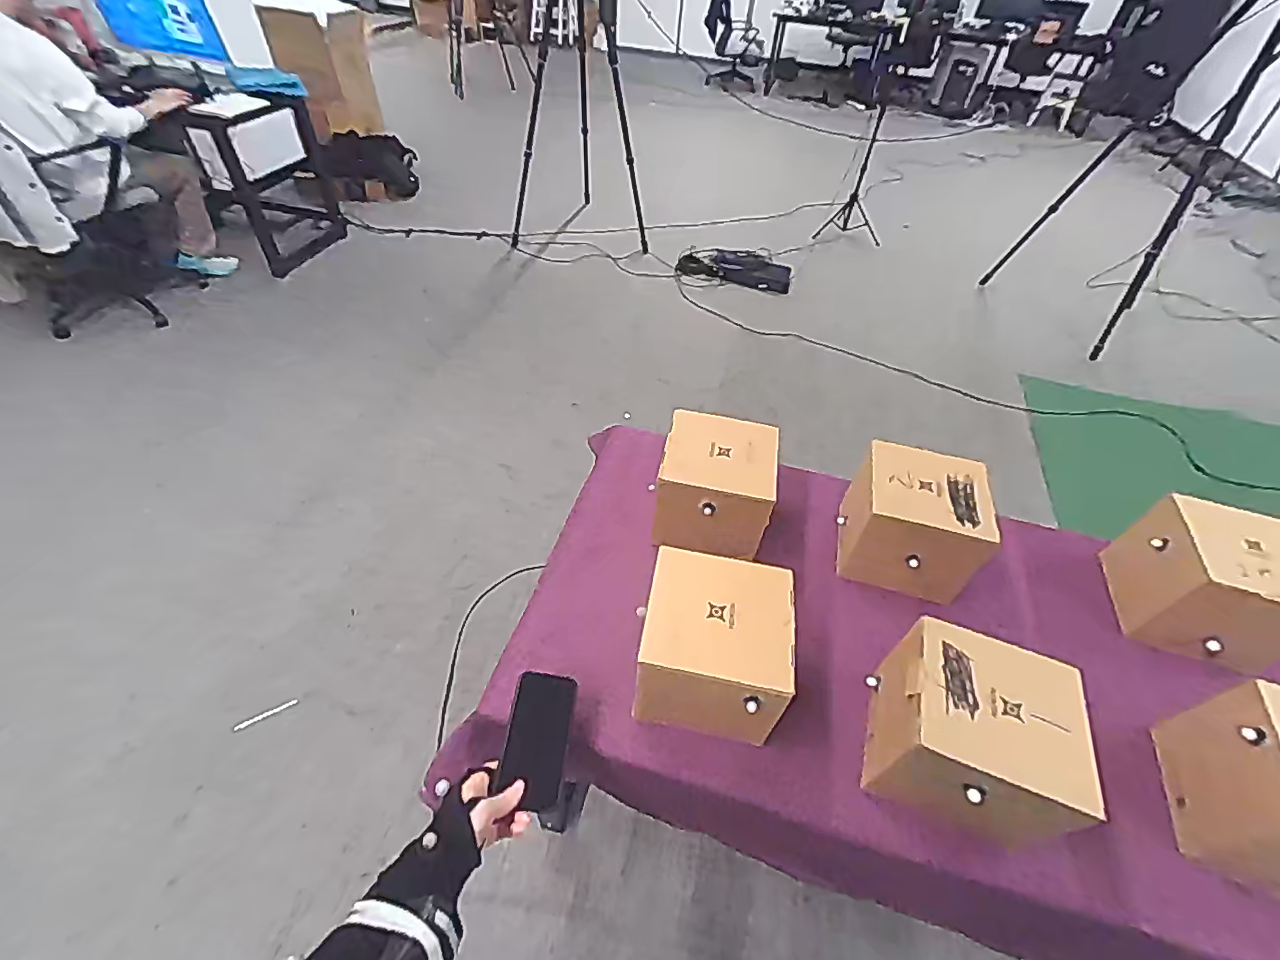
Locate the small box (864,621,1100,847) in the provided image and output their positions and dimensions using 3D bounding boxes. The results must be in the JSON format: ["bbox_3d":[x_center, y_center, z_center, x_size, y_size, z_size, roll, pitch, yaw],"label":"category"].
[{"bbox_3d":[0.388,0.306,0.648,0.179,0.176,0.168,19,48,12],"label":"small box"}]

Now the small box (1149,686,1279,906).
[{"bbox_3d":[0.752,0.373,0.616,0.179,0.176,0.168,20,48,13],"label":"small box"}]

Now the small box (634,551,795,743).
[{"bbox_3d":[0.093,0.220,0.705,0.179,0.176,0.168,11,46,4],"label":"small box"}]

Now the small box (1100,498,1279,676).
[{"bbox_3d":[0.855,0.163,0.825,0.168,0.176,0.179,17,48,11],"label":"small box"}]
